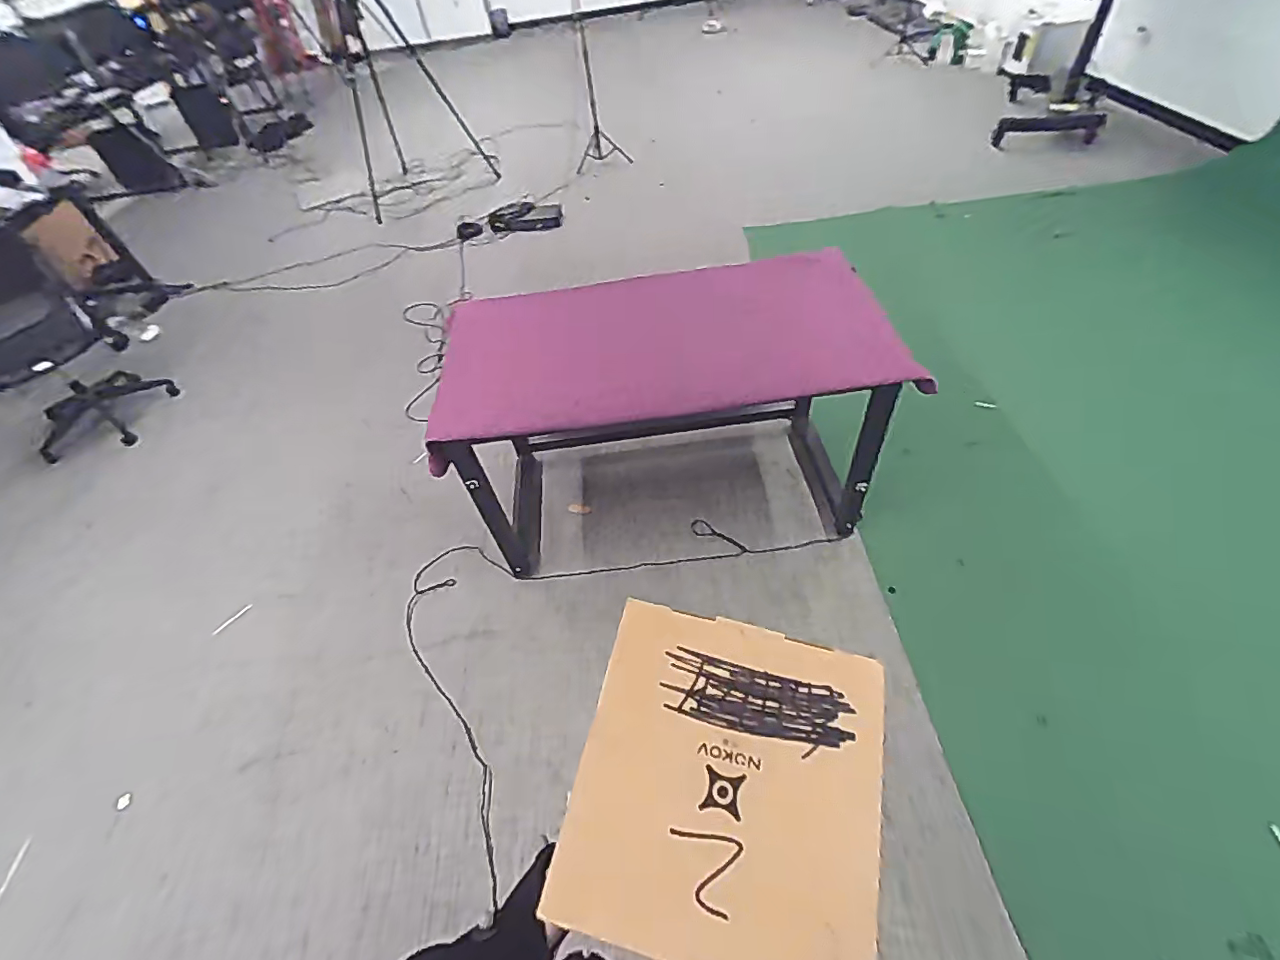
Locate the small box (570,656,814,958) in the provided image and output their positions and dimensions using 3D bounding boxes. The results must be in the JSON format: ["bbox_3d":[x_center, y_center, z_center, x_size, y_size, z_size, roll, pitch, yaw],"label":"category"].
[{"bbox_3d":[0.050,0.290,0.500,0.168,0.176,0.179,13,57,9],"label":"small box"}]
